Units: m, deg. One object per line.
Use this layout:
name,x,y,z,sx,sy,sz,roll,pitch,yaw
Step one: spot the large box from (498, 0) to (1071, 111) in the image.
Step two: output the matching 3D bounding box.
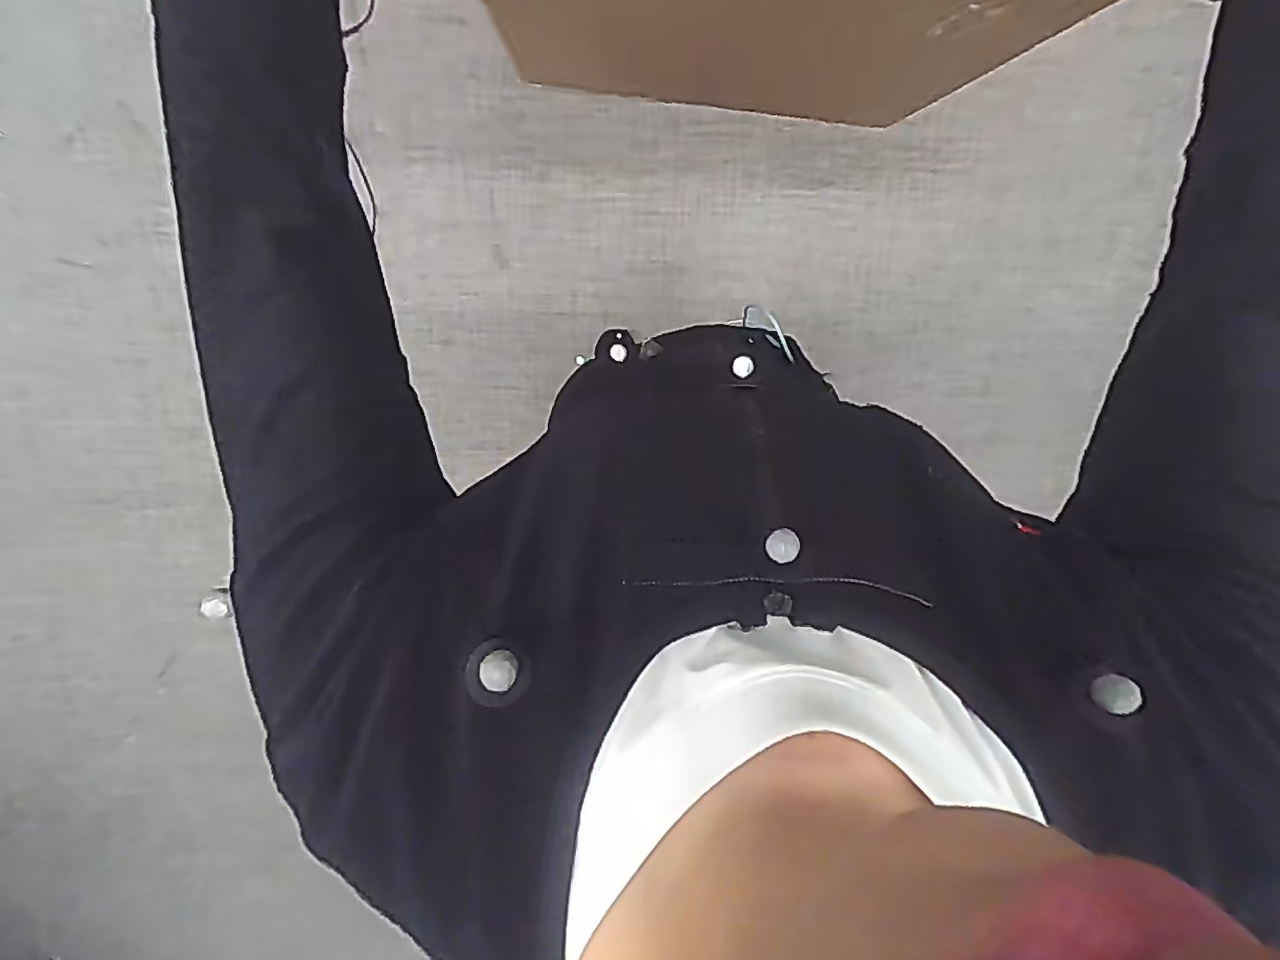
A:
large box,0.094,-0.501,0.388,0.408,0.320,0.320,3,112,-5
